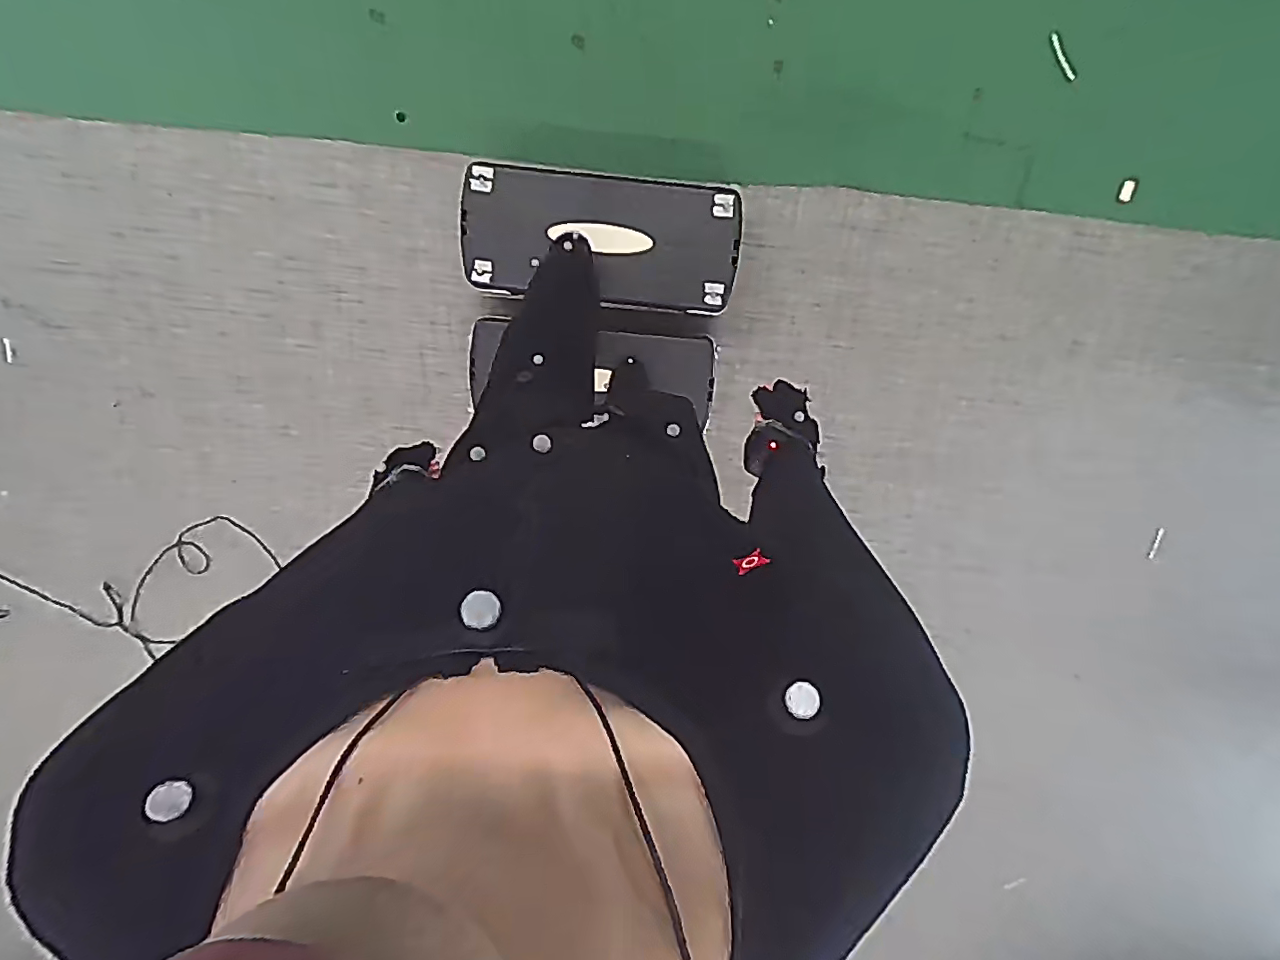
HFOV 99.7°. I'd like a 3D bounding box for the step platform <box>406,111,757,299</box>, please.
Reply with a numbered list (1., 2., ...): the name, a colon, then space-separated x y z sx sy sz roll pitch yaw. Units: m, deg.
1. step platform: -0.114 -0.560 1.145 0.684 0.204 0.286 5 106 -1
